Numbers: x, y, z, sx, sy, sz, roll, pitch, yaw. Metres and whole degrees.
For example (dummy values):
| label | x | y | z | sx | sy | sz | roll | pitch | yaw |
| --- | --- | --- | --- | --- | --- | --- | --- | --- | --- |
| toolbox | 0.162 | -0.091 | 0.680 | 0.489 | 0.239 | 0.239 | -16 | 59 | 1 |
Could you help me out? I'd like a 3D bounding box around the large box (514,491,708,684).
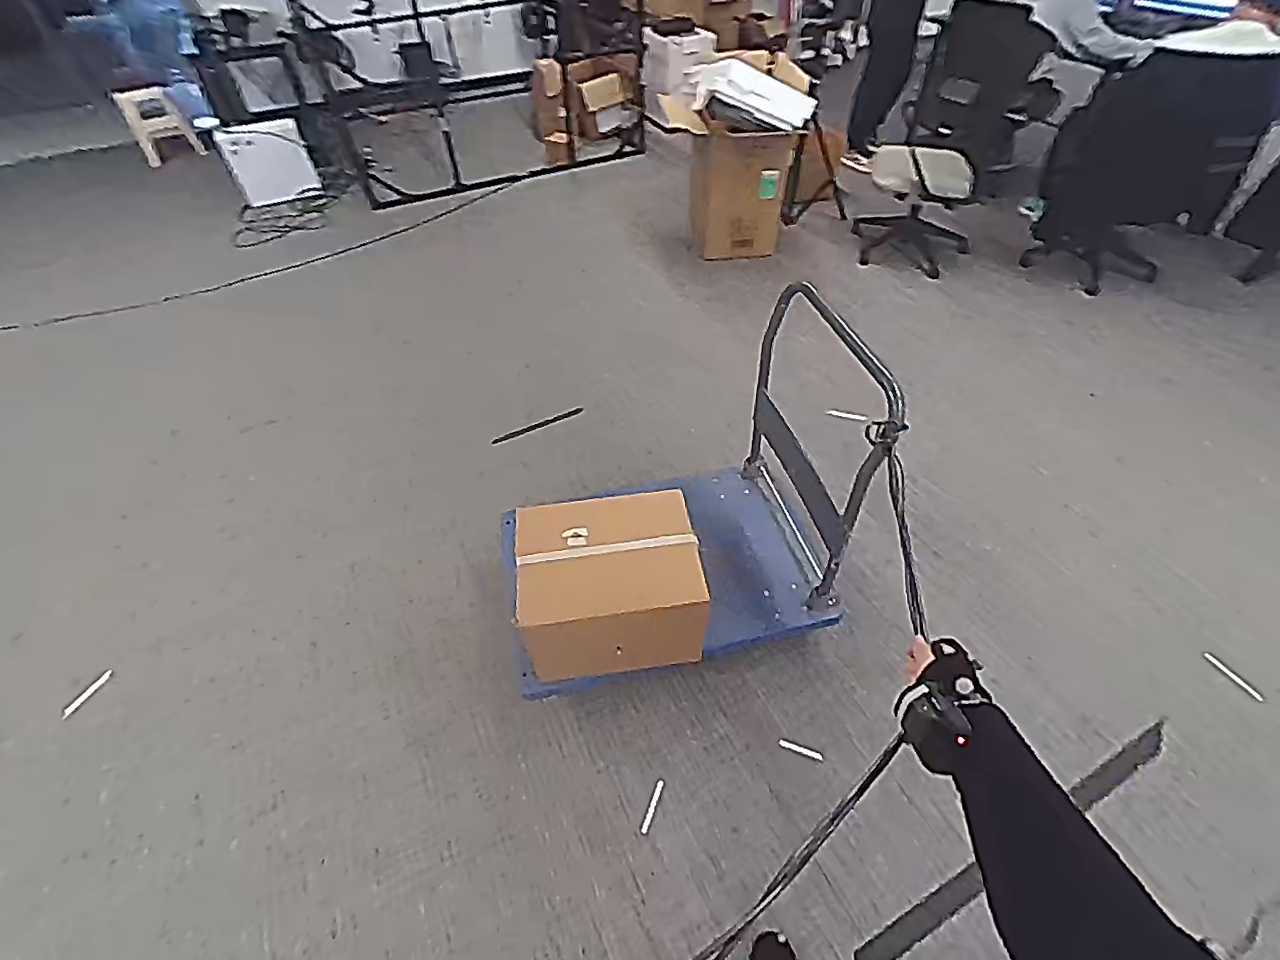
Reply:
| label | x | y | z | sx | sy | sz | roll | pitch | yaw |
| --- | --- | --- | --- | --- | --- | --- | --- | --- | --- |
| large box | -0.072 | 0.263 | 1.312 | 0.408 | 0.320 | 0.320 | -8 | 49 | -4 |
